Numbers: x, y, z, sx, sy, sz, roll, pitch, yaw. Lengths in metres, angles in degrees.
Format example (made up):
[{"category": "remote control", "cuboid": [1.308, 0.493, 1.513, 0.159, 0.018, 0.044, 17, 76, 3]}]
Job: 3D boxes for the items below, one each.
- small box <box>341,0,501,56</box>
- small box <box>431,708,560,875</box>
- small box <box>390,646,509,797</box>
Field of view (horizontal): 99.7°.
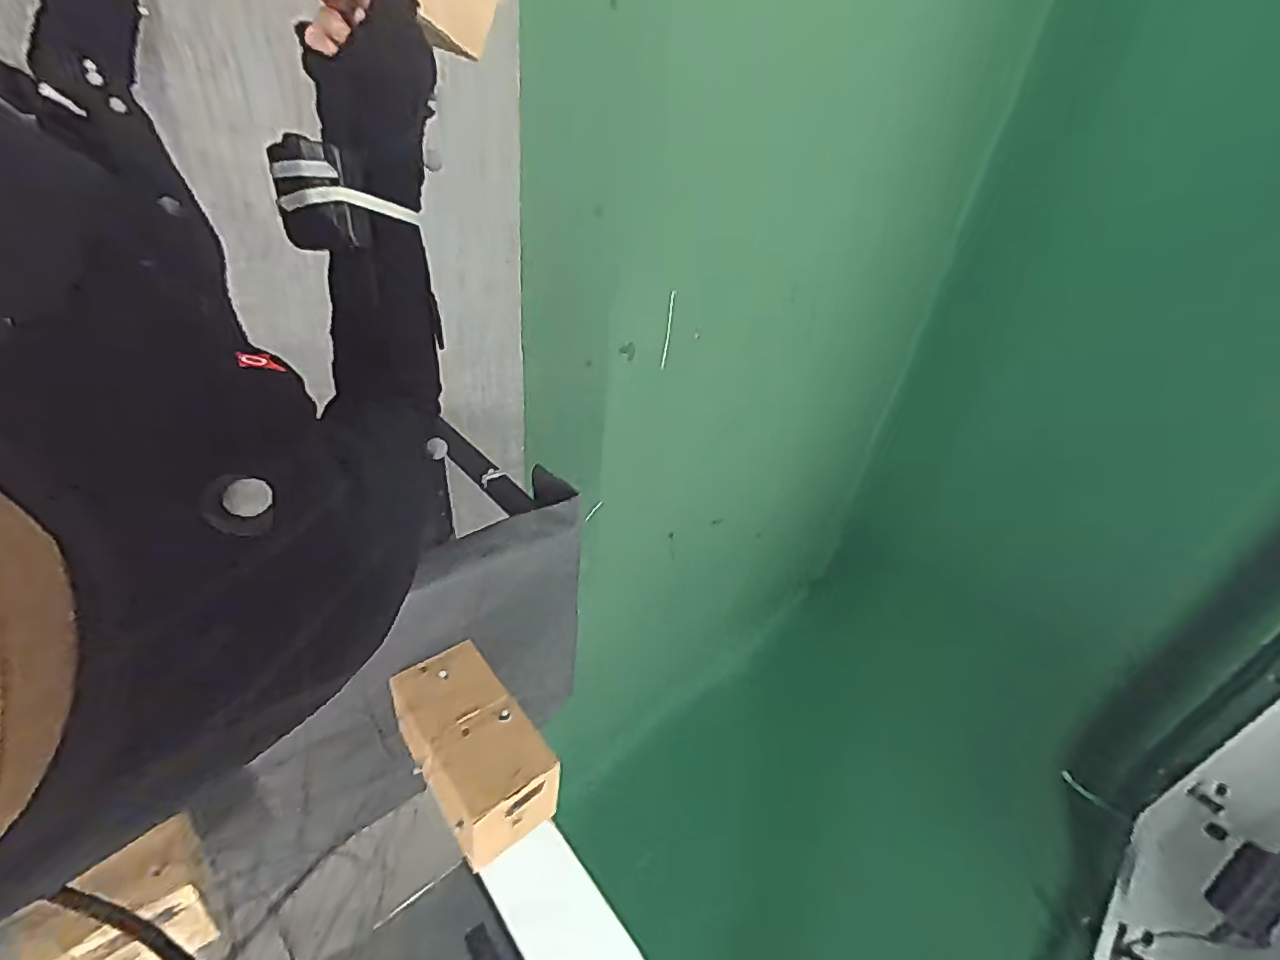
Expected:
[{"category": "small box", "cuboid": [-0.189, -0.441, 0.359, 0.168, 0.176, 0.179, -8, 130, -58]}, {"category": "small box", "cuboid": [-0.264, 0.548, 0.980, 0.168, 0.176, 0.179, -19, 132, -38]}, {"category": "small box", "cuboid": [-0.374, 0.470, 1.073, 0.168, 0.176, 0.179, -22, 133, -38]}]
